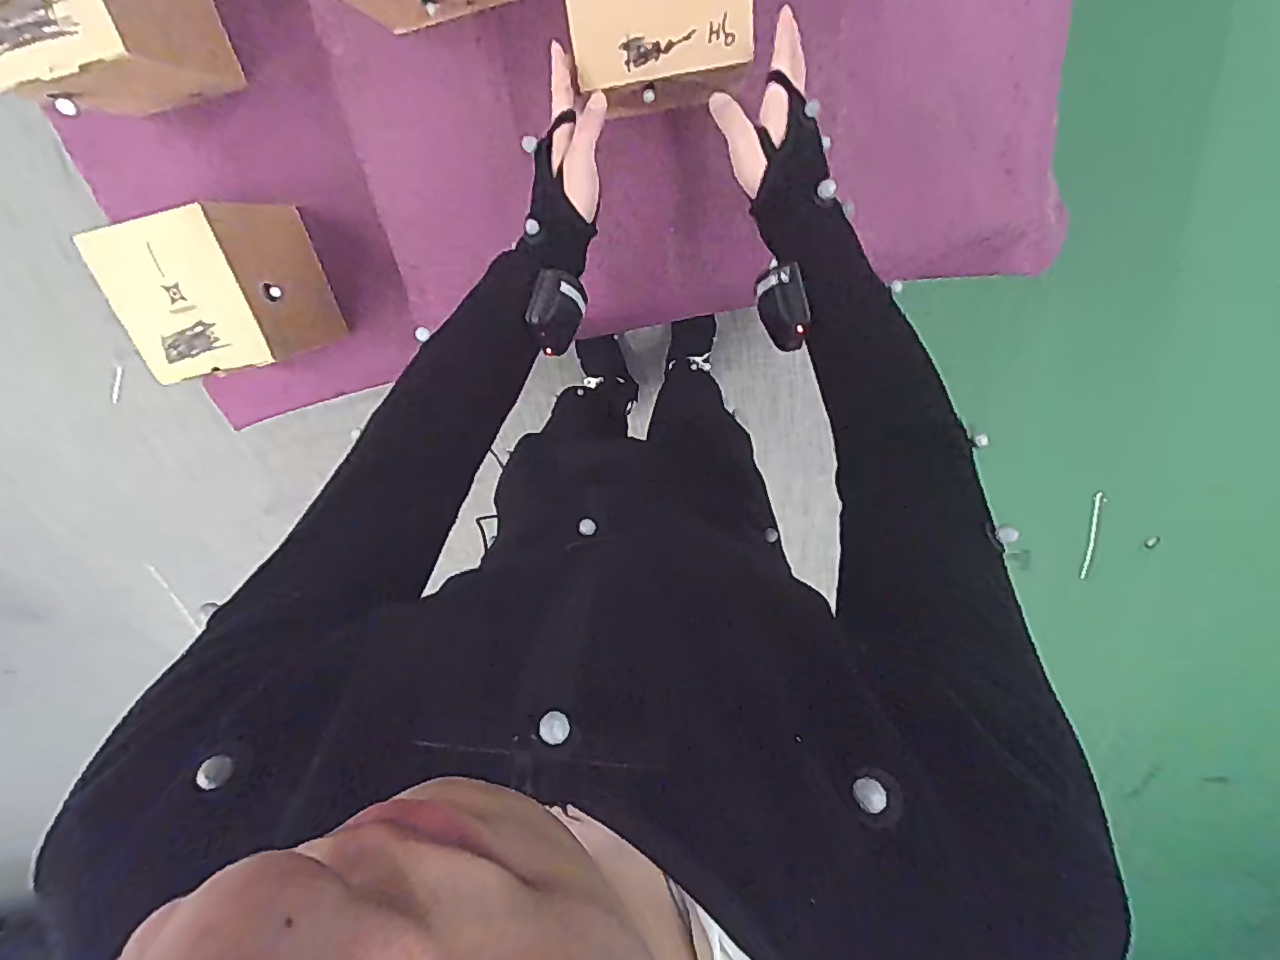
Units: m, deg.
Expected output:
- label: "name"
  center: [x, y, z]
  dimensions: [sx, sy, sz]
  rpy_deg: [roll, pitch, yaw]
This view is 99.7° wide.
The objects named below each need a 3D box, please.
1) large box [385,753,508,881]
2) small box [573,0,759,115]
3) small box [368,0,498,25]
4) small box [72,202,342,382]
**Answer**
- label: "large box"
  center: [-0.803, 1.401, 2.263]
  dimensions: [0.408, 0.320, 0.320]
  rpy_deg: [12, 117, -3]
- label: "small box"
  center: [0.022, -0.488, 0.536]
  dimensions: [0.168, 0.176, 0.179]
  rpy_deg: [-5, 117, 7]
- label: "small box"
  center: [-0.227, -0.577, 0.507]
  dimensions: [0.168, 0.176, 0.179]
  rpy_deg: [-9, 117, 8]
- label: "small box"
  center: [-0.523, -0.242, 0.688]
  dimensions: [0.168, 0.176, 0.179]
  rpy_deg: [-9, 115, 7]
